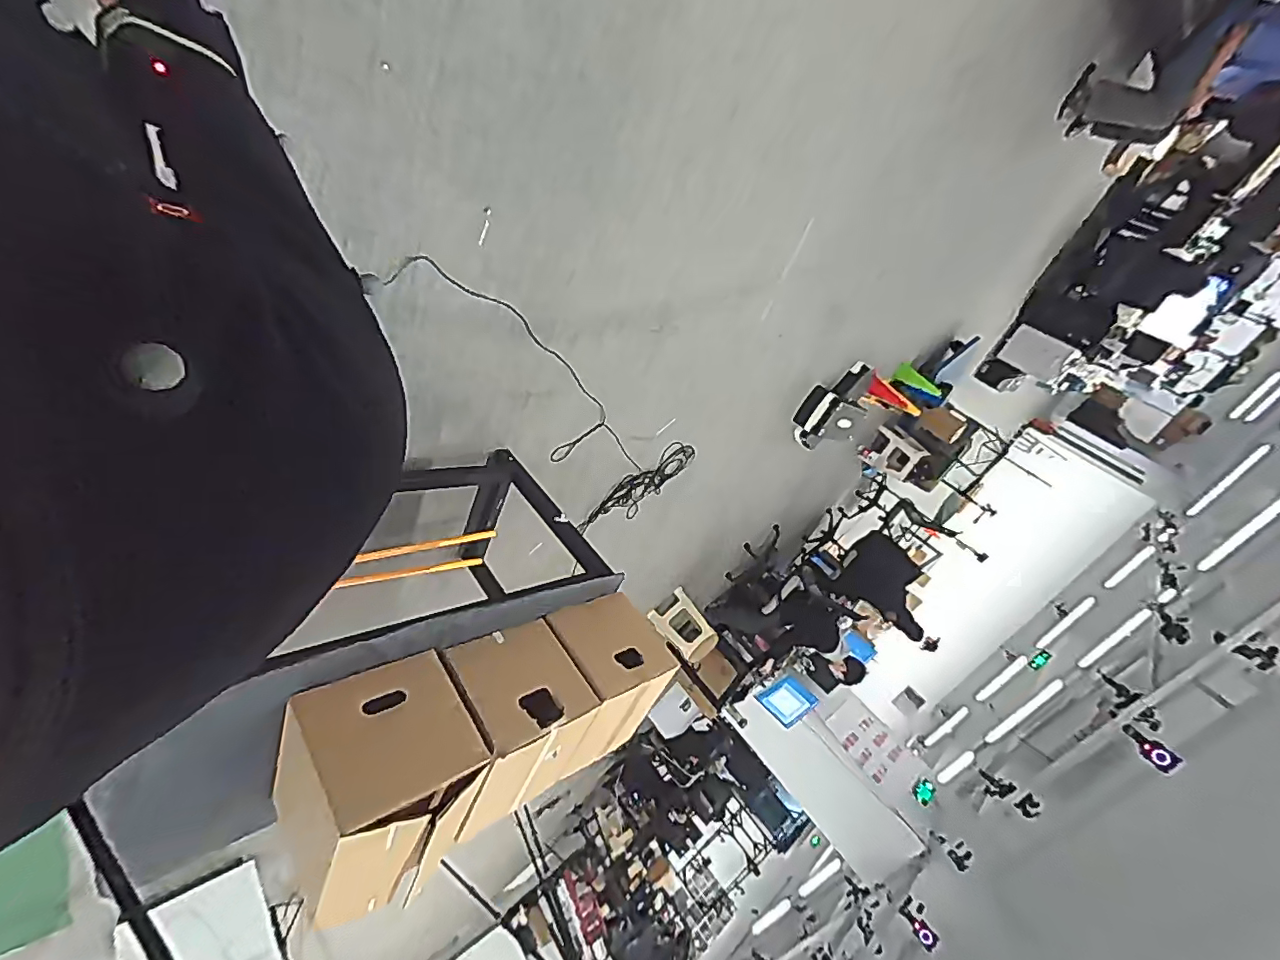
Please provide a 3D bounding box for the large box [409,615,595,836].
[{"bbox_3d":[-0.384,0.639,1.448,0.320,0.320,0.408,-8,133,-46],"label":"large box"}]
